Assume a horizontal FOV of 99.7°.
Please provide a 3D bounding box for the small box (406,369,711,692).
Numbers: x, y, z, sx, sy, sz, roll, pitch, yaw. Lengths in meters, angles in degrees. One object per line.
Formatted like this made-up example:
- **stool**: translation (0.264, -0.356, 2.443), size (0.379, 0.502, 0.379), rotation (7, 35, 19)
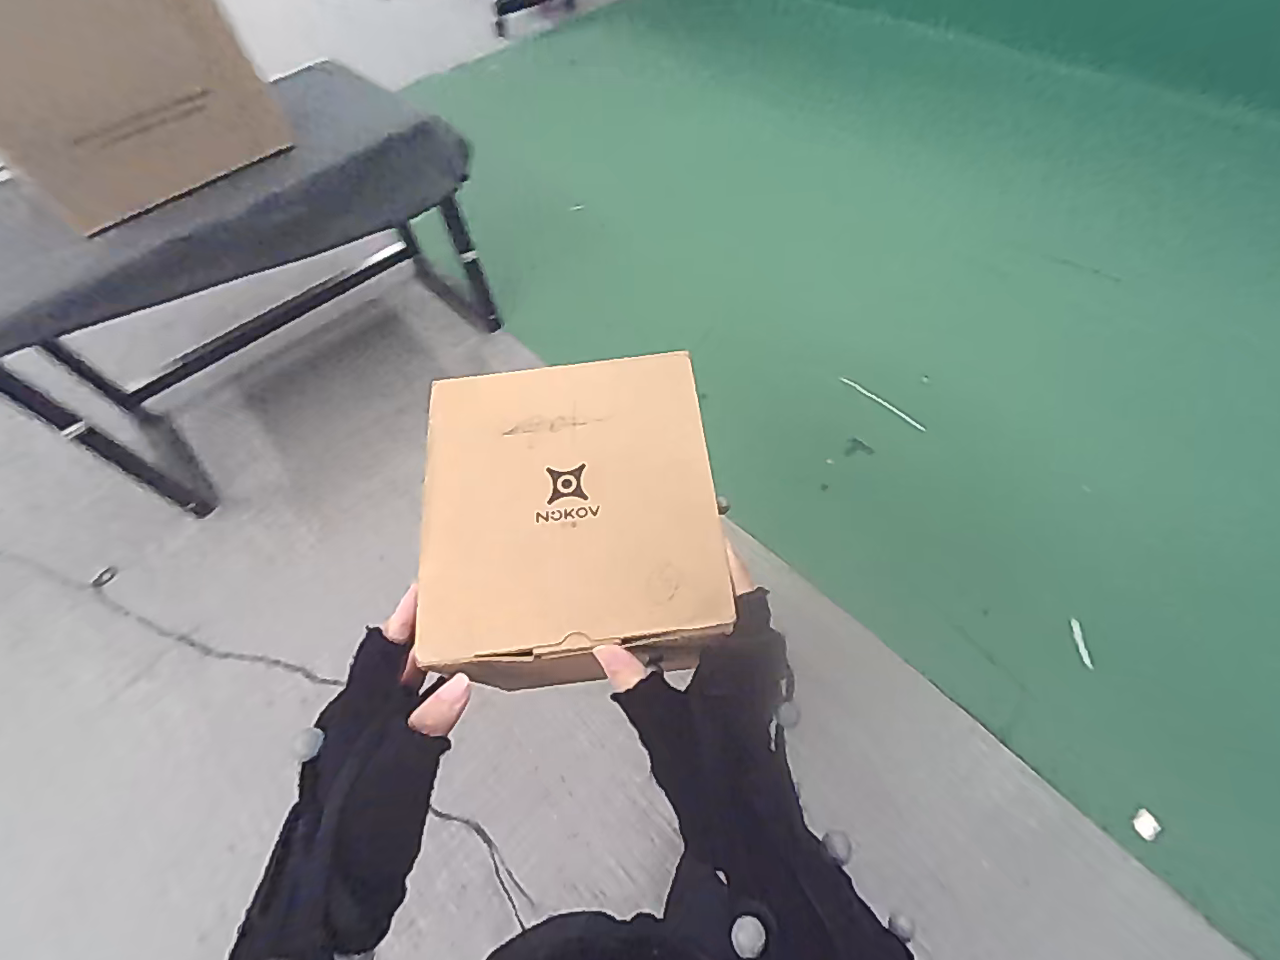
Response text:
- **small box**: translation (-0.048, 0.049, 0.388), size (0.168, 0.176, 0.179), rotation (-8, 64, -1)
